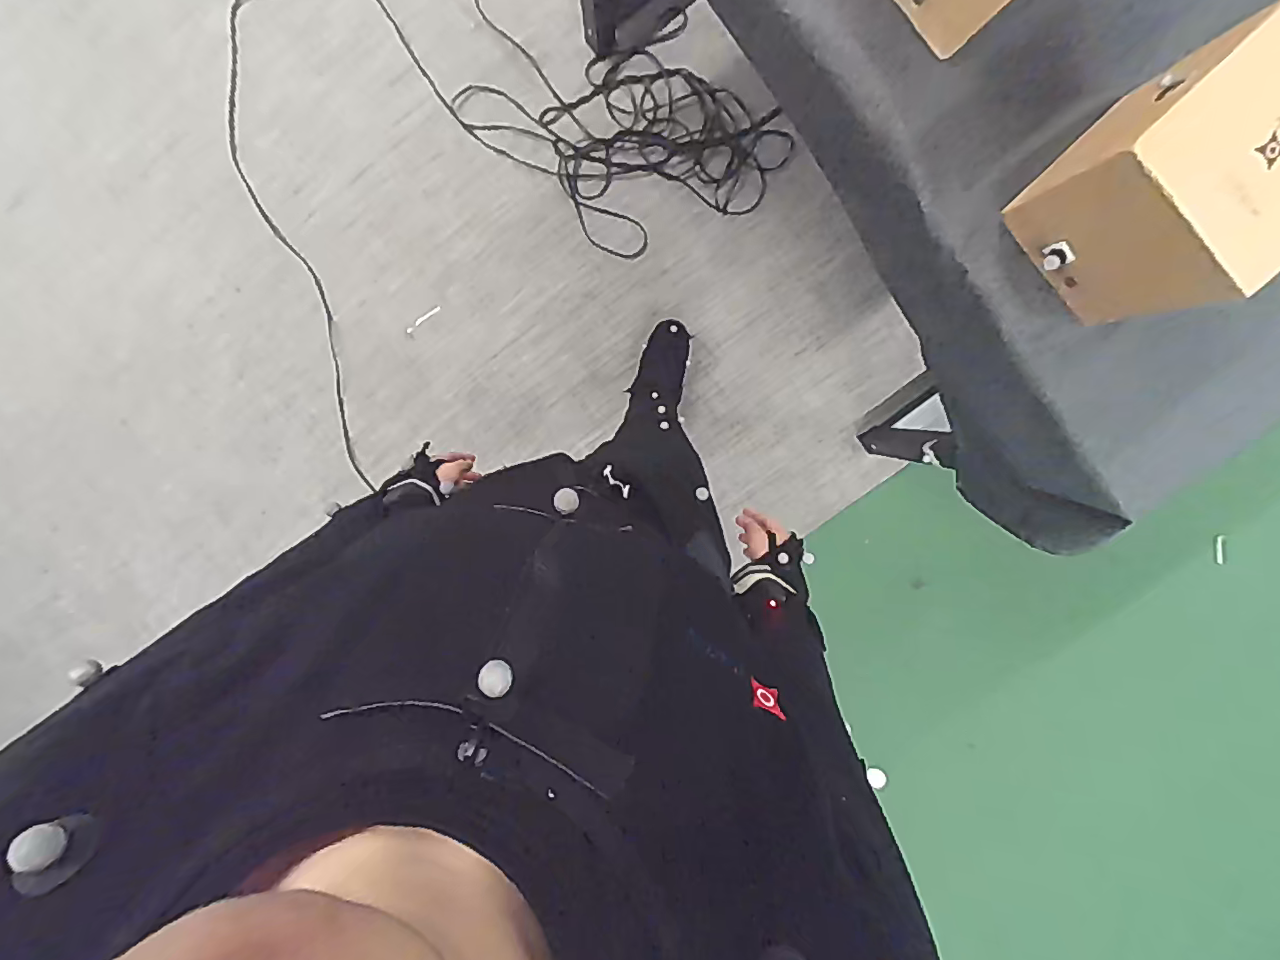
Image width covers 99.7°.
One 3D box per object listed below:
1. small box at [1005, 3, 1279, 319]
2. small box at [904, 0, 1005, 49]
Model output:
[{"bbox_3d":[0.510,-0.282,0.517,0.179,0.176,0.168,-44,96,5],"label":"small box"},{"bbox_3d":[0.325,-0.546,0.474,0.179,0.176,0.168,-43,97,4],"label":"small box"}]
